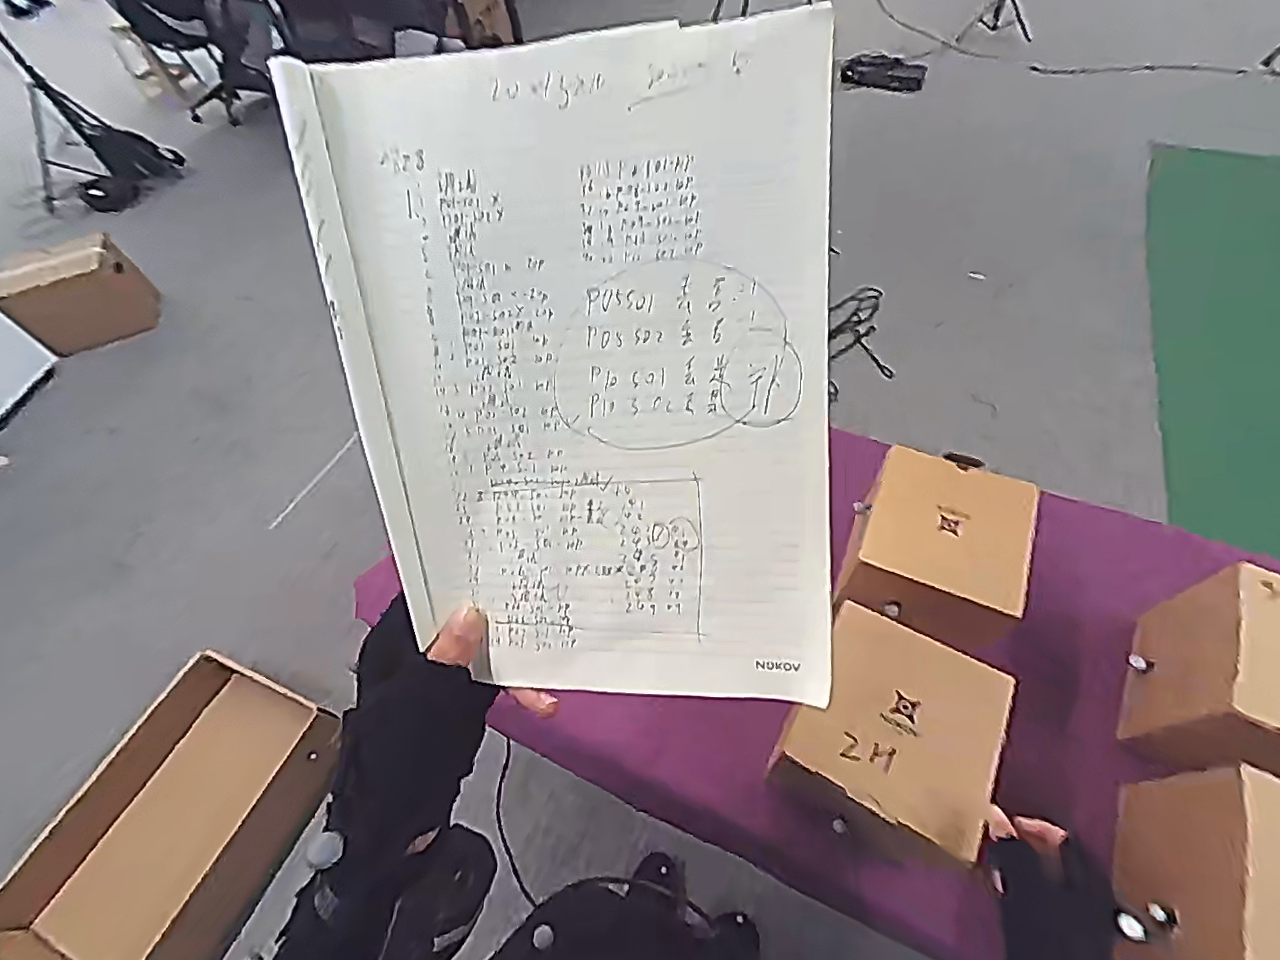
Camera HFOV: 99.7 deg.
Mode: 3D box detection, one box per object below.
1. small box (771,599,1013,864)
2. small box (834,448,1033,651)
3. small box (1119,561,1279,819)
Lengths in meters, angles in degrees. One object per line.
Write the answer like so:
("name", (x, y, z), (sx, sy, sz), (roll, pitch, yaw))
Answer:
("small box", (0.250, 0.263, 0.569), (0.168, 0.176, 0.179), (24, 61, 21))
("small box", (0.357, 0.095, 0.681), (0.168, 0.176, 0.179), (19, 59, 18))
("small box", (0.647, 0.222, 0.558), (0.168, 0.176, 0.179), (27, 62, 22))
